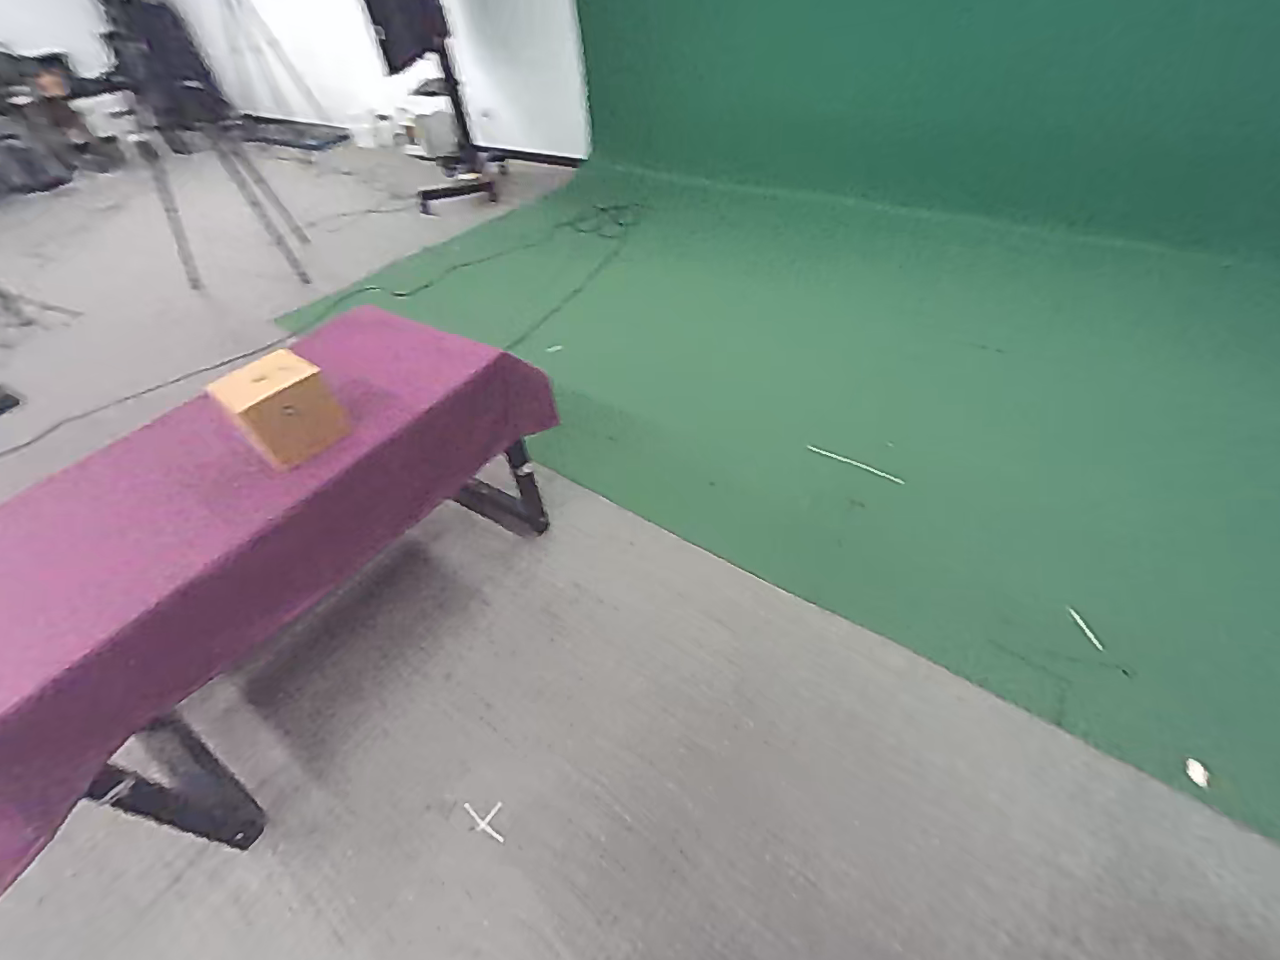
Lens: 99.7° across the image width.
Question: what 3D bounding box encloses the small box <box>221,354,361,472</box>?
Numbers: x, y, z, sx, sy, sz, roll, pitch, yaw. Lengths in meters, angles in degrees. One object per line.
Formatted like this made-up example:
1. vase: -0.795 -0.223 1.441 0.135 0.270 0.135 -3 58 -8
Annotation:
1. small box: -0.769 -0.148 1.206 0.168 0.176 0.179 28 55 30
